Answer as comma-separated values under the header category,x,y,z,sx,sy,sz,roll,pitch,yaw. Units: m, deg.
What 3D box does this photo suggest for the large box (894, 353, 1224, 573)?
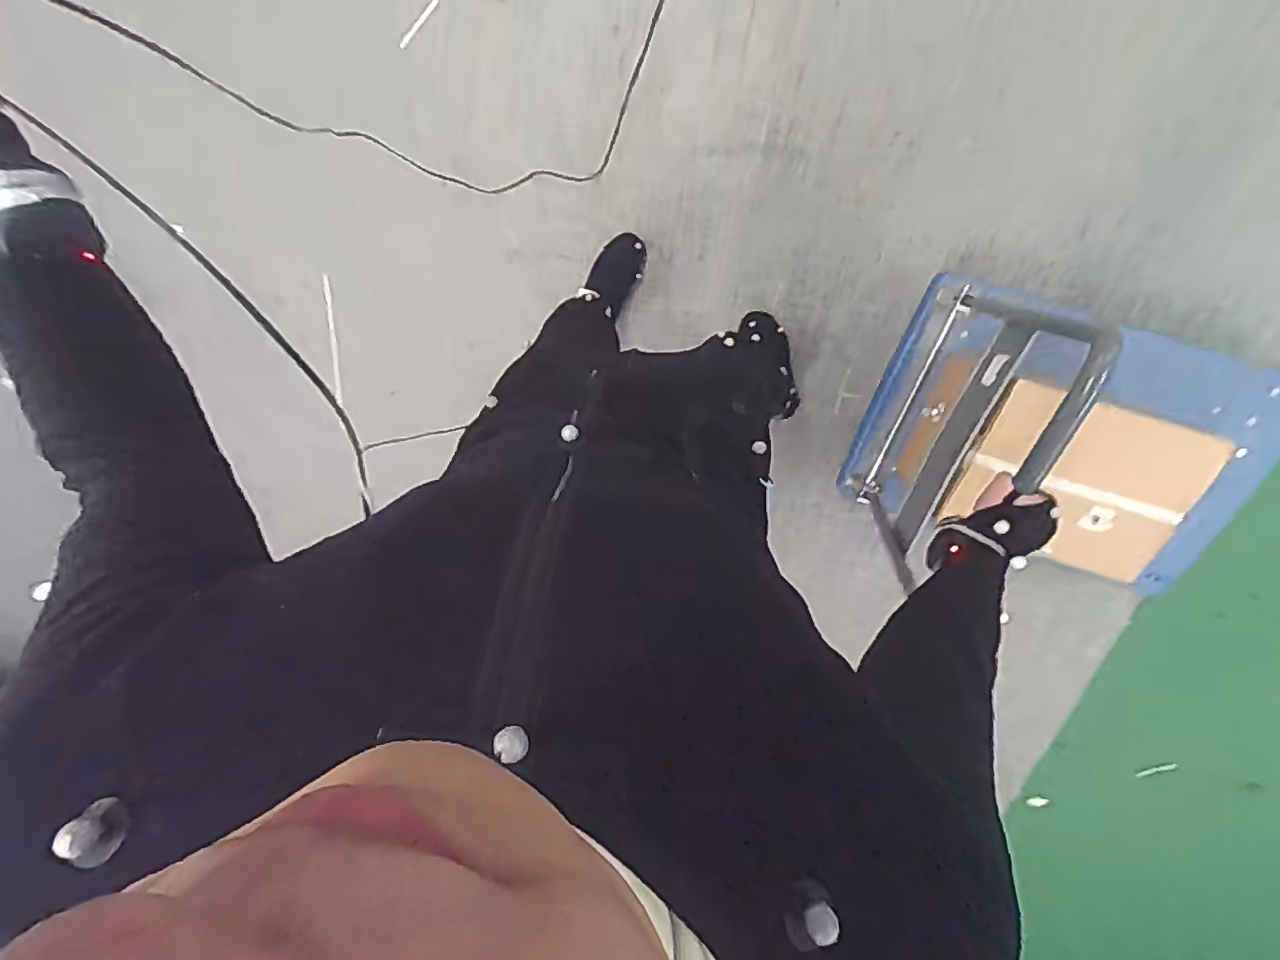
category,x,y,z,sx,sy,sz,roll,pitch,yaw
large box,0.842,-0.056,1.170,0.408,0.320,0.320,17,115,2
